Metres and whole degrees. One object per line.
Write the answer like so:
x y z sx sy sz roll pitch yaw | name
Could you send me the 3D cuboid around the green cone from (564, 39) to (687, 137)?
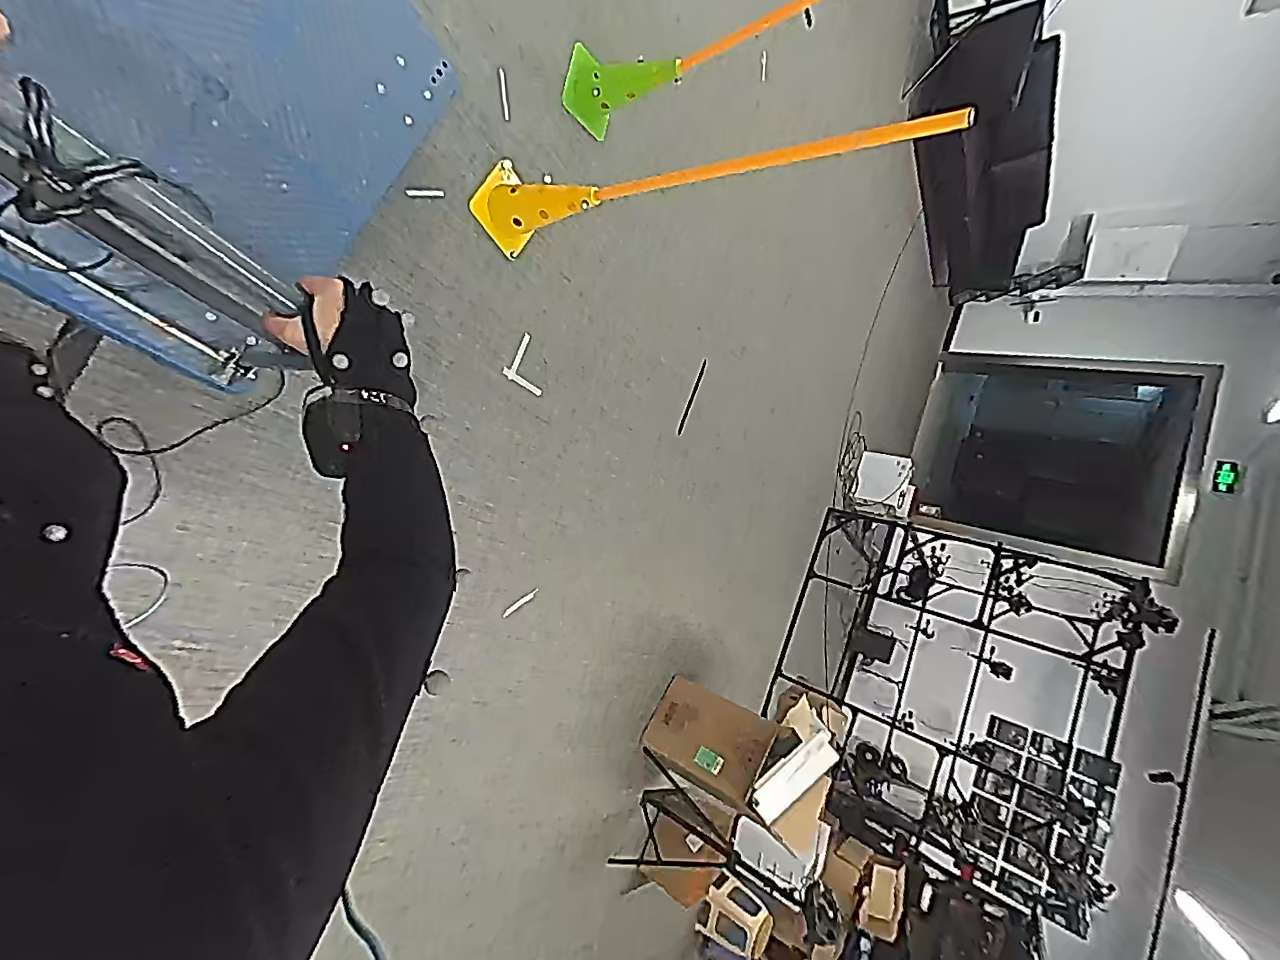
-0.020 -1.199 1.613 0.200 0.368 0.202 12 93 -54 | green cone
